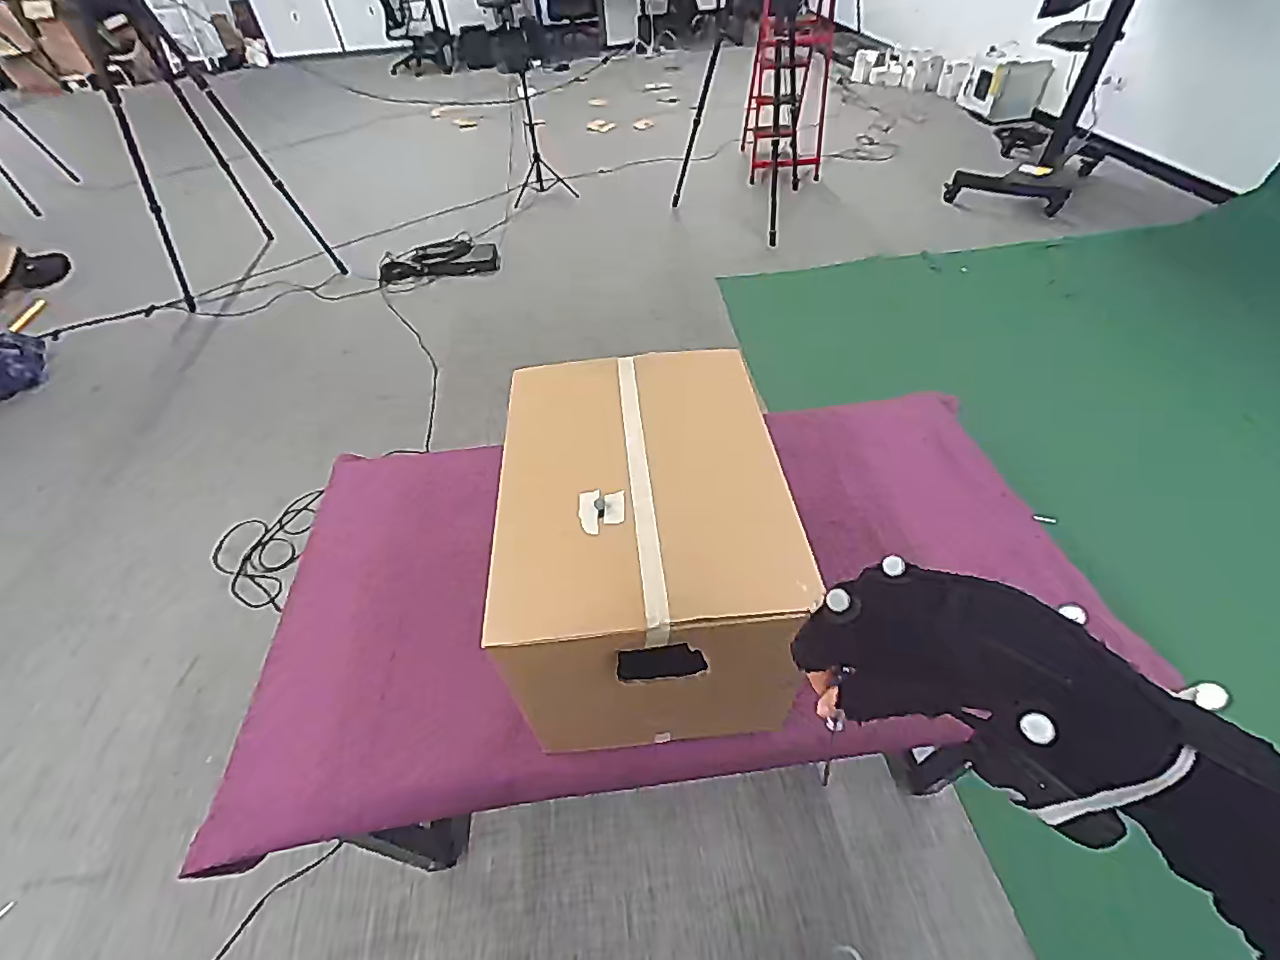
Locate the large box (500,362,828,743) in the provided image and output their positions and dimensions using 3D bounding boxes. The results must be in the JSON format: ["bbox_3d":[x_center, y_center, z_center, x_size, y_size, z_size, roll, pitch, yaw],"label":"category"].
[{"bbox_3d":[0.009,0.090,0.735,0.320,0.320,0.408,-5,49,-1],"label":"large box"}]
